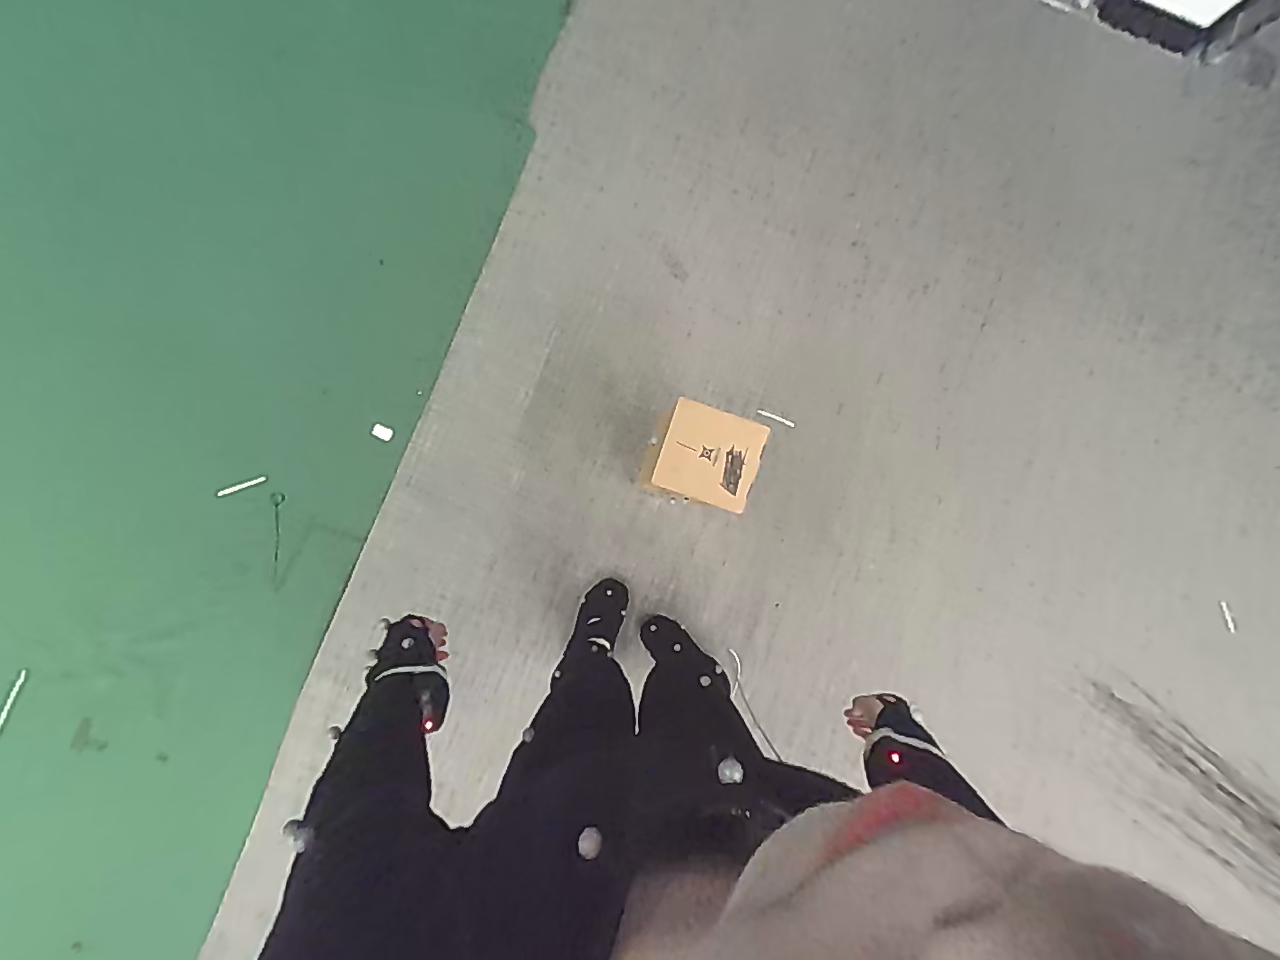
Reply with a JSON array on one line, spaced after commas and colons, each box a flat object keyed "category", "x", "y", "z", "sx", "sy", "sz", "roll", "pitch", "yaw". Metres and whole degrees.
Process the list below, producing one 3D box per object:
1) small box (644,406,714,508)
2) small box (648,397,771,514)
[{"category": "small box", "x": 0.111, "y": -0.045, "z": 1.202, "sx": 0.168, "sy": 0.176, "sz": 0.179, "roll": 18, "pitch": 88, "yaw": -2}, {"category": "small box", "x": 0.124, "y": -0.043, "z": 1.038, "sx": 0.179, "sy": 0.176, "sz": 0.168, "roll": 20, "pitch": 88, "yaw": -2}]
